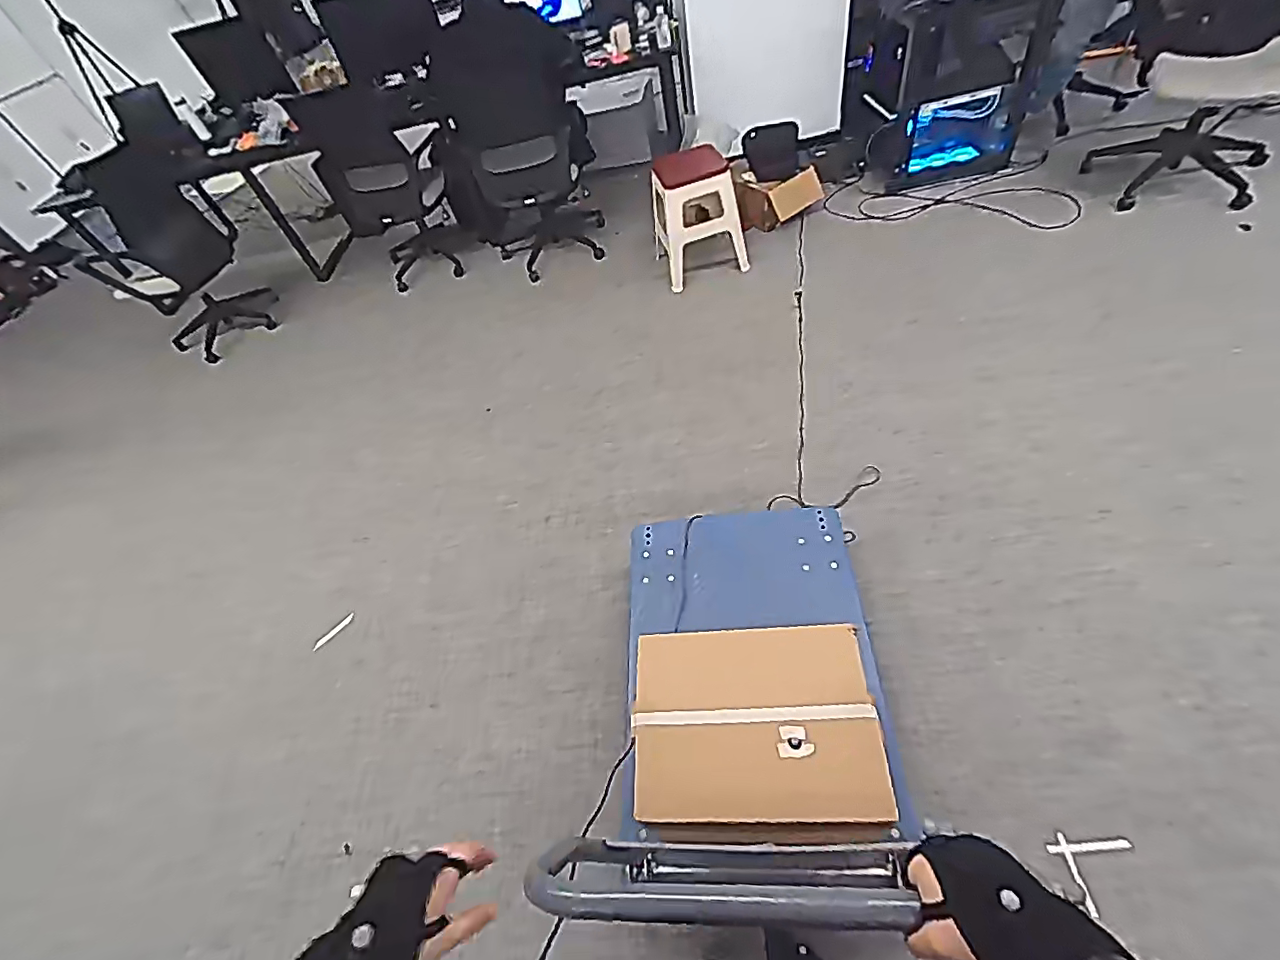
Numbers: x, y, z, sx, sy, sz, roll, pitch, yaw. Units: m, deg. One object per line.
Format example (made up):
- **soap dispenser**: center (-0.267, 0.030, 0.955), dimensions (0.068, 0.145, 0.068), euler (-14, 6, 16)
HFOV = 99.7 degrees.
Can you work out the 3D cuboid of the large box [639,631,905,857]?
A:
- **large box**: center (0.218, 0.505, 1.016), dimensions (0.408, 0.320, 0.320), euler (-6, 51, 9)
